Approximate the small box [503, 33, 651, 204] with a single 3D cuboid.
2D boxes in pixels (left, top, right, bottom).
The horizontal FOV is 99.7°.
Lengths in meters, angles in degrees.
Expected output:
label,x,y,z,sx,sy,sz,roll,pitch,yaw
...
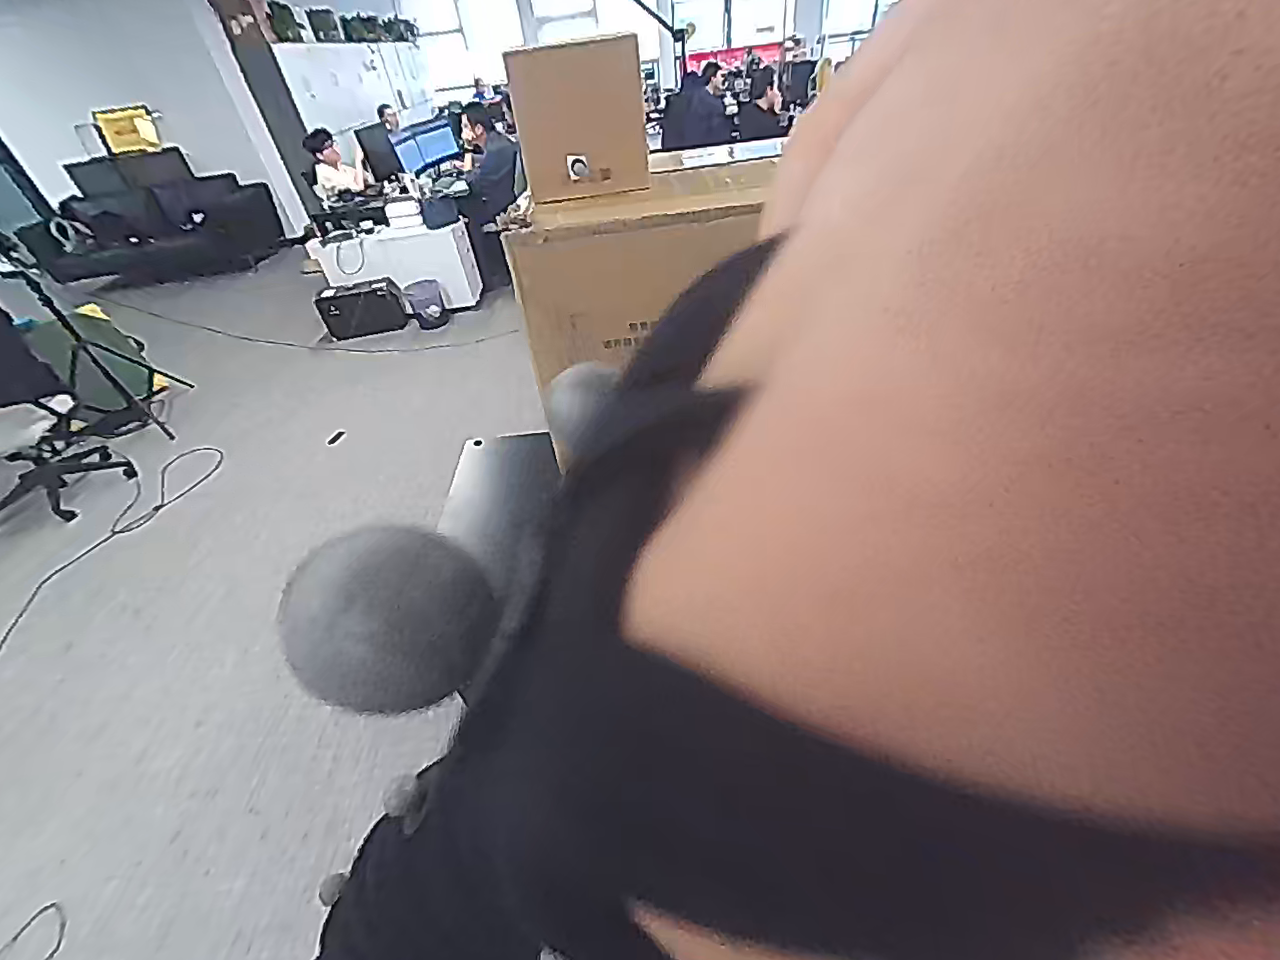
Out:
label,x,y,z,sx,sy,sz,roll,pitch,yaw
small box,-0.082,-0.497,0.746,0.168,0.176,0.179,-10,42,-2
